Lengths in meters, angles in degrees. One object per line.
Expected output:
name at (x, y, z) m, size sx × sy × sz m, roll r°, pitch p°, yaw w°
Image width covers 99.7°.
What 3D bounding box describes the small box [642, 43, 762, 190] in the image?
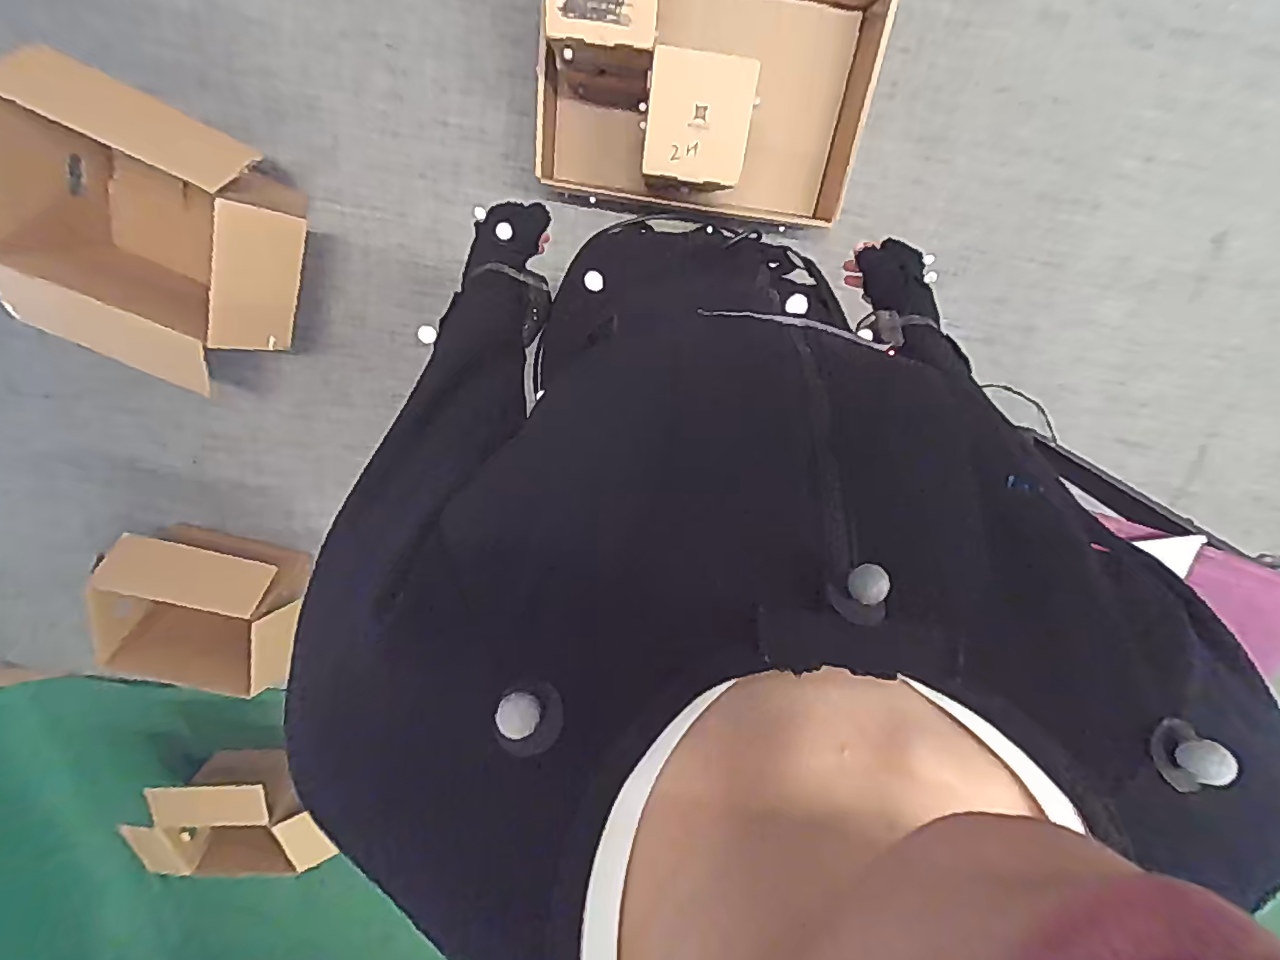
small box at (0.094, -0.608, 0.926) m, size 0.168 × 0.176 × 0.179 m, roll 7°, pitch 117°, yaw -3°
